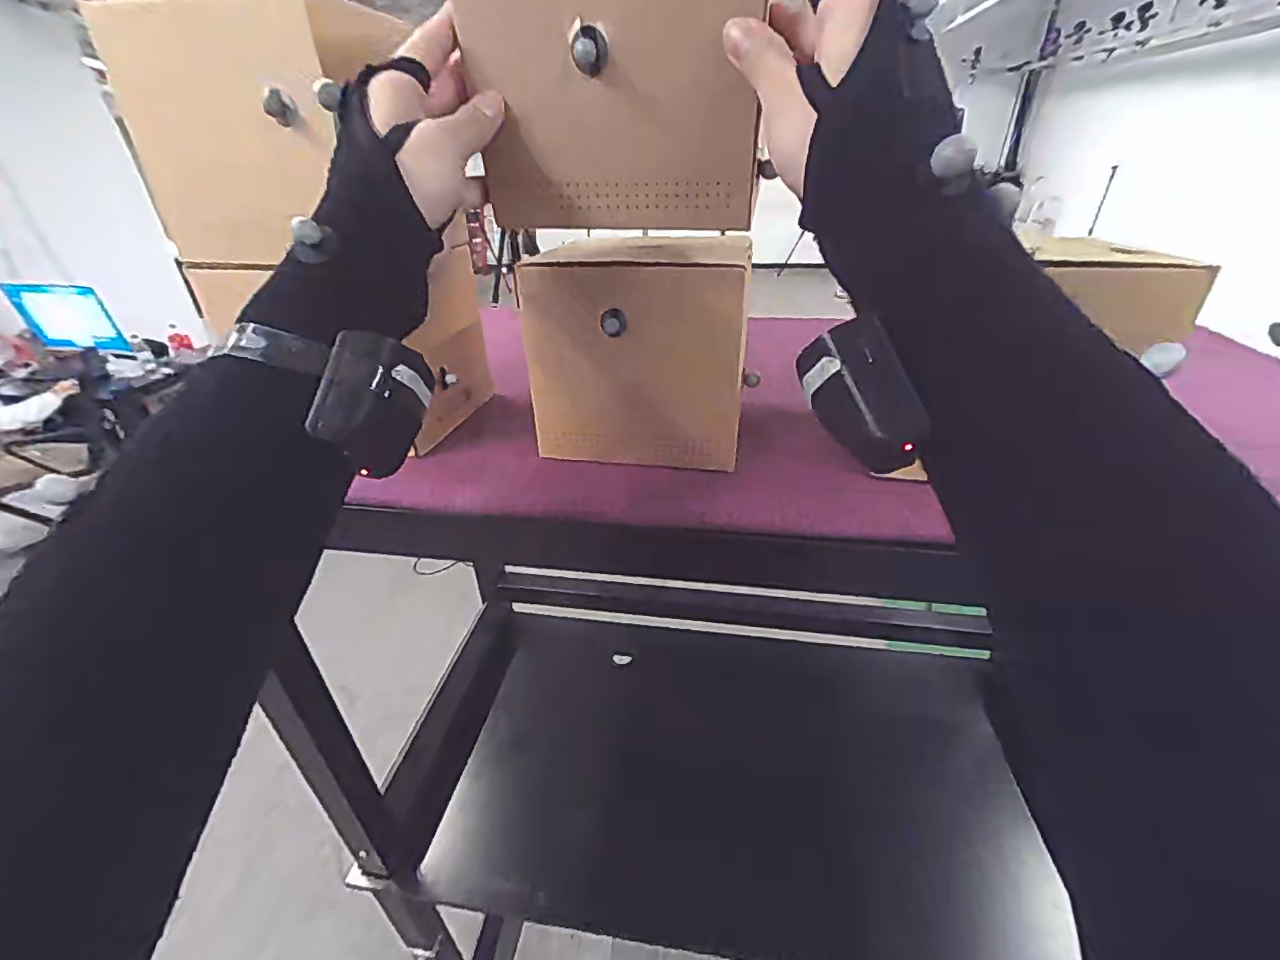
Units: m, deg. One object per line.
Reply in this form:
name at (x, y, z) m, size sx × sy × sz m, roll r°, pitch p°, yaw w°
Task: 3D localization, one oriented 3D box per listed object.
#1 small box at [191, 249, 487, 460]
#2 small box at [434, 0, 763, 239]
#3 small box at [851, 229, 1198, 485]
small box at (-0.276, -0.131, 0.543) m, size 0.179 × 0.176 × 0.168 m, roll 5°, pitch 31°, yaw 10°
small box at (-0.010, -0.275, 0.369) m, size 0.179 × 0.176 × 0.168 m, roll 4°, pitch 40°, yaw 12°
small box at (0.282, -0.107, 0.454) m, size 0.179 × 0.176 × 0.168 m, roll 3°, pitch 31°, yaw 12°
